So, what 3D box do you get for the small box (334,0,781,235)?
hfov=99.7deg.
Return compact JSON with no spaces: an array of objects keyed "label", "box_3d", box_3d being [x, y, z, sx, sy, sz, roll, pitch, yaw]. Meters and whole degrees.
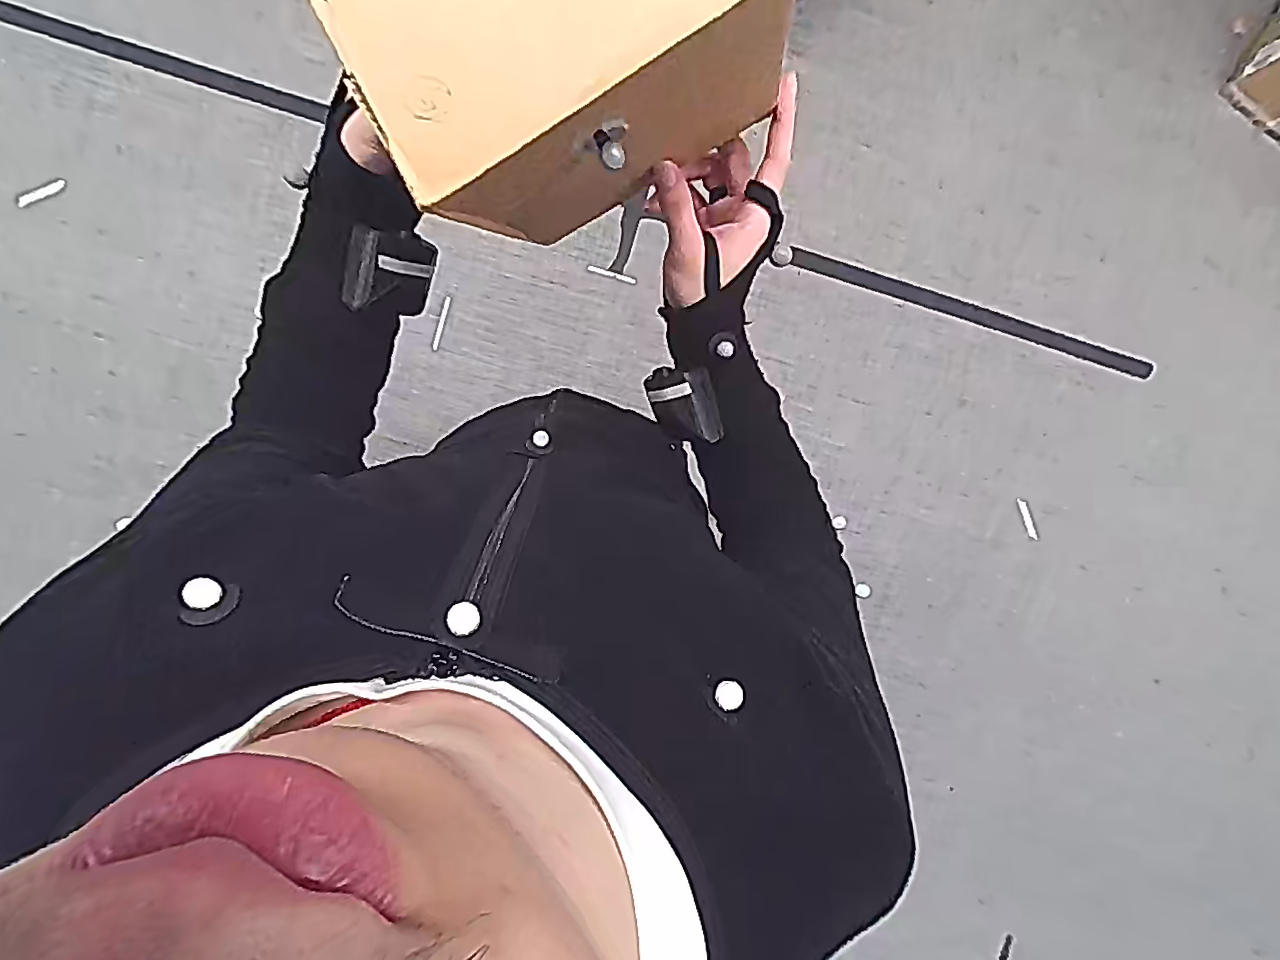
[{"label":"small box","box_3d":[-0.036,-0.251,0.282,0.179,0.176,0.168,-23,103,16]}]
